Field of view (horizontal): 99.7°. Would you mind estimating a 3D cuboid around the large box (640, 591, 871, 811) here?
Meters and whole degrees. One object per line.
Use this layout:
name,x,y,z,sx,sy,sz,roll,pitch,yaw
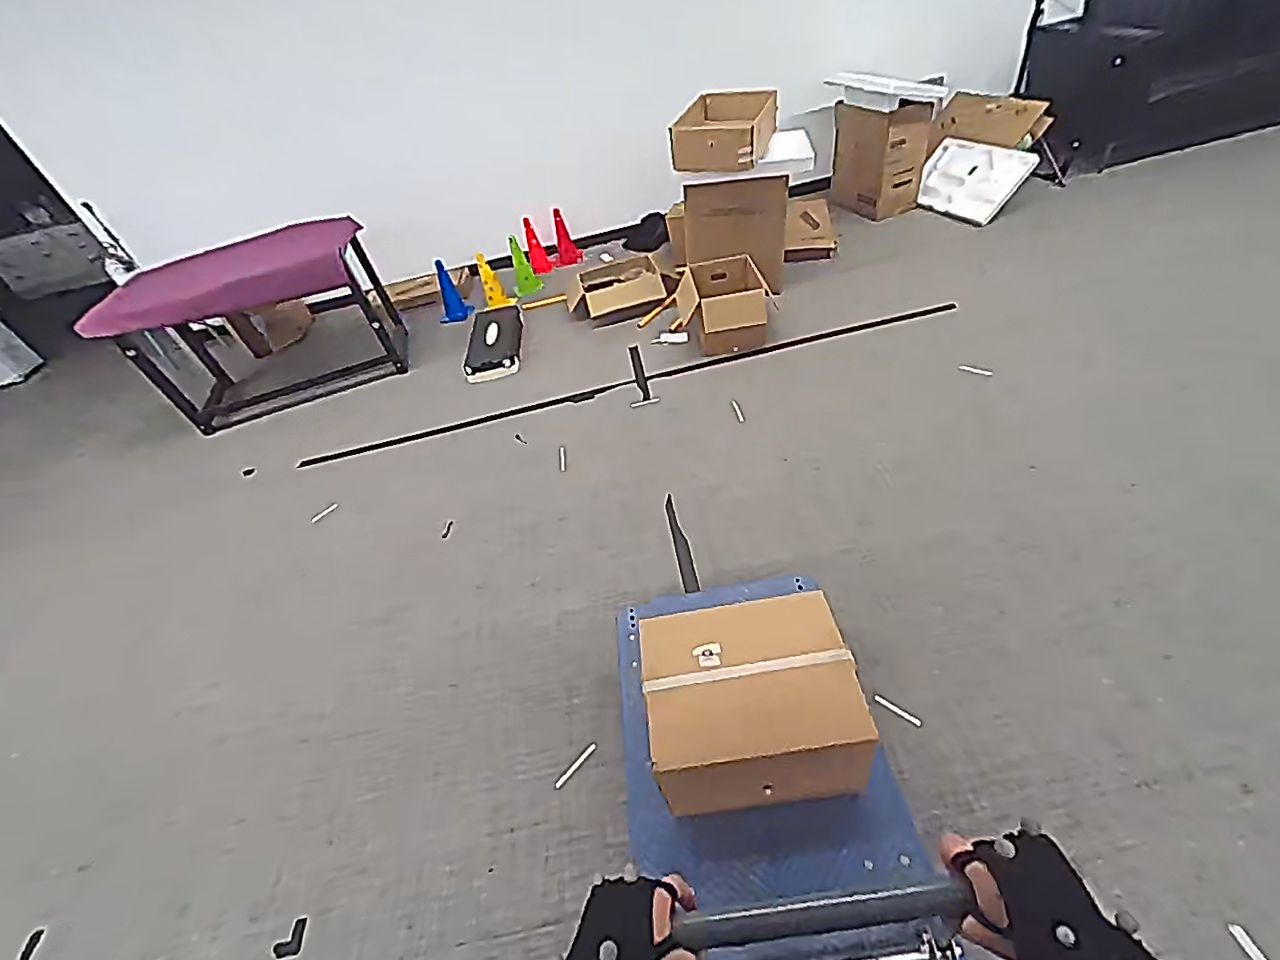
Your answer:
large box,0.236,0.489,1.186,0.408,0.320,0.320,-12,43,4
